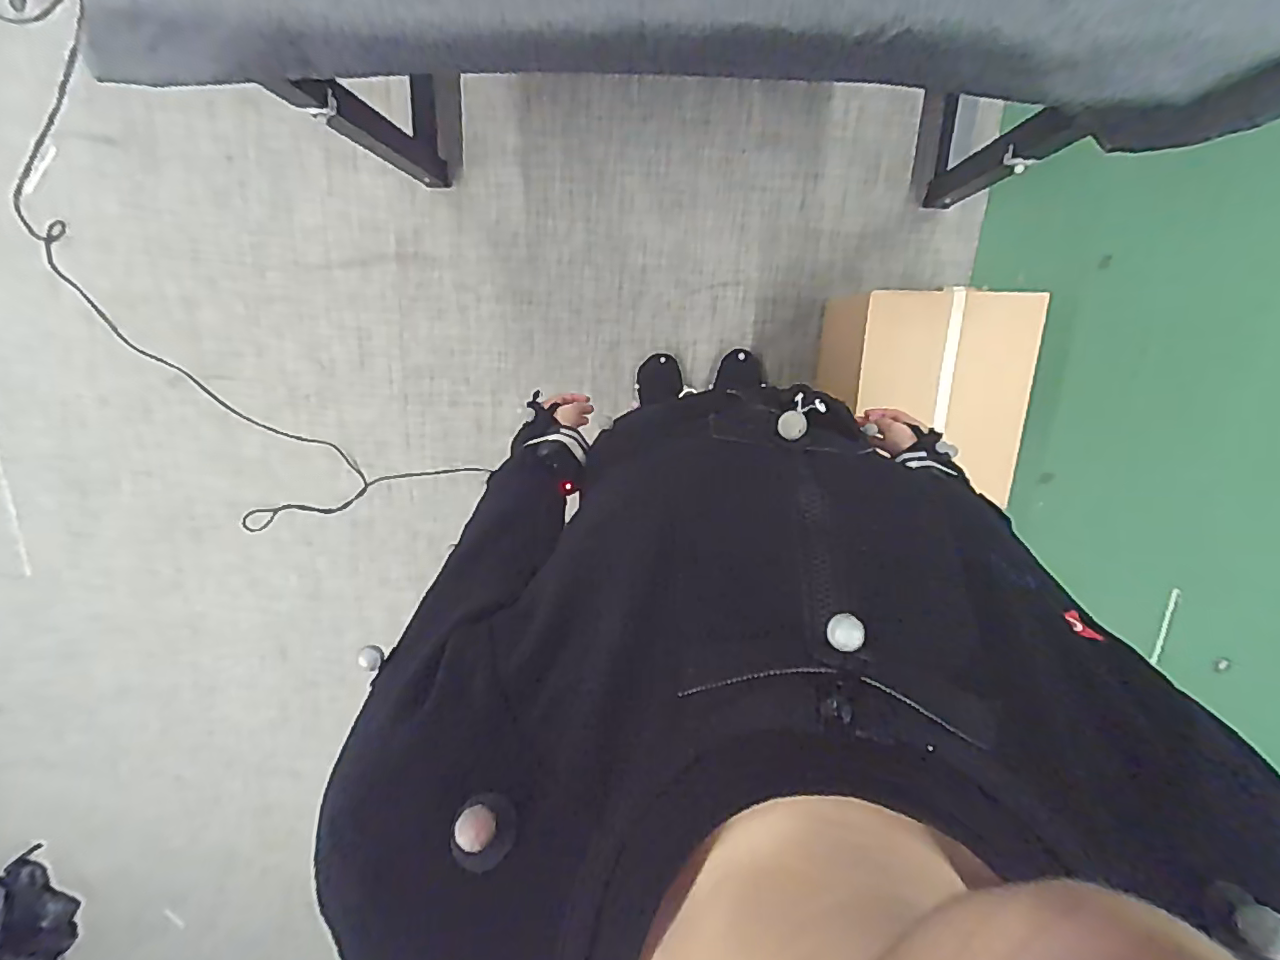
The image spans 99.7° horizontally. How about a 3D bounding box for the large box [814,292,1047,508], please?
[{"bbox_3d":[0.574,-0.178,1.148,0.320,0.320,0.408,2,104,4],"label":"large box"}]
